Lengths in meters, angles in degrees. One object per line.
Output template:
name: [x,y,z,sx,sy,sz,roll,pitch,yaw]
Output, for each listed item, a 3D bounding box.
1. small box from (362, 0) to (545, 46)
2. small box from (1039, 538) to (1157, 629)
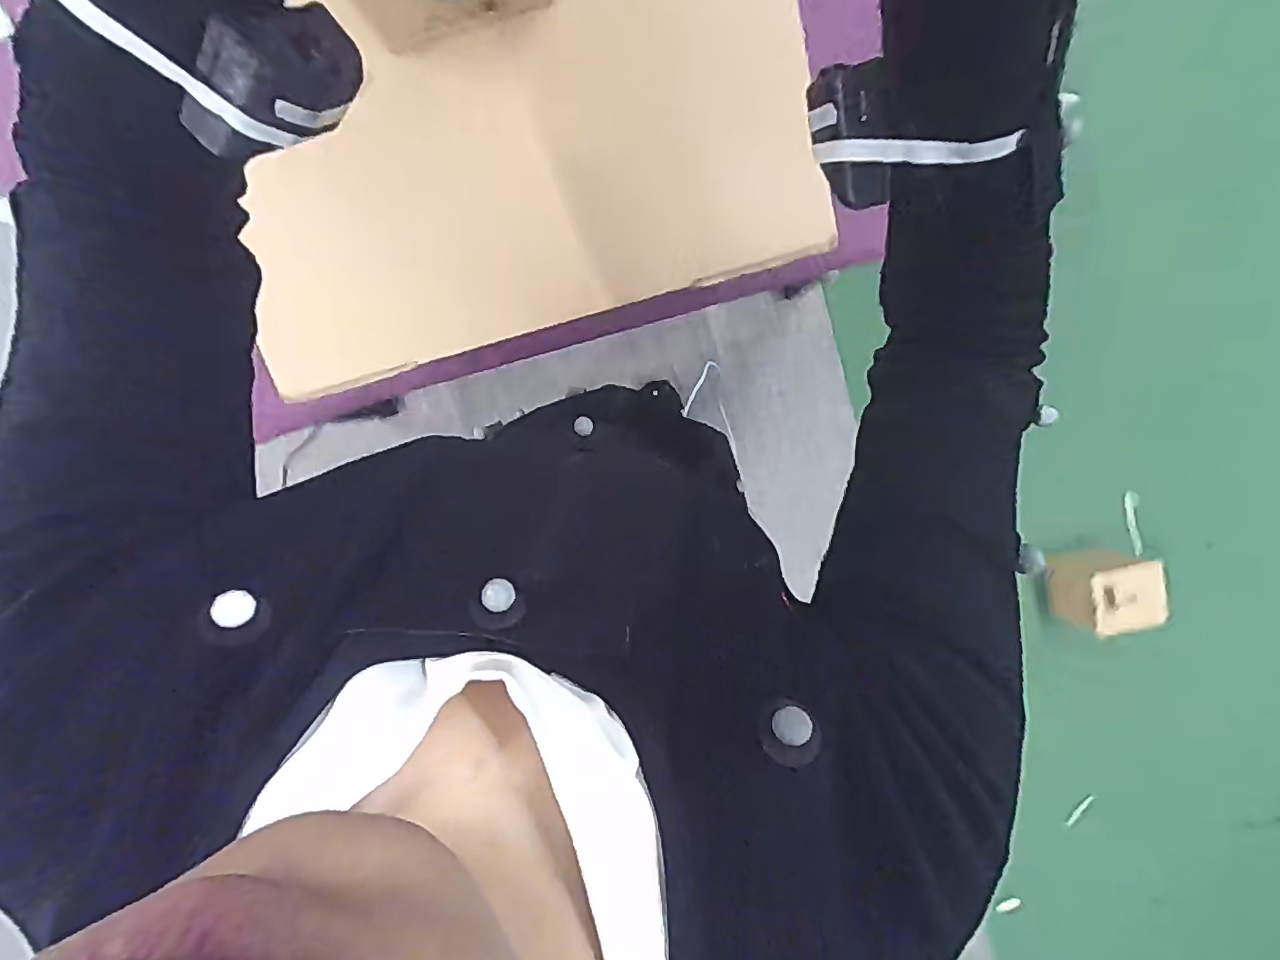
small box: [-0.178,-0.490,0.407,0.168,0.176,0.179,-15,97,3]
small box: [1.209,0.271,1.445,0.179,0.176,0.168,-17,98,4]
